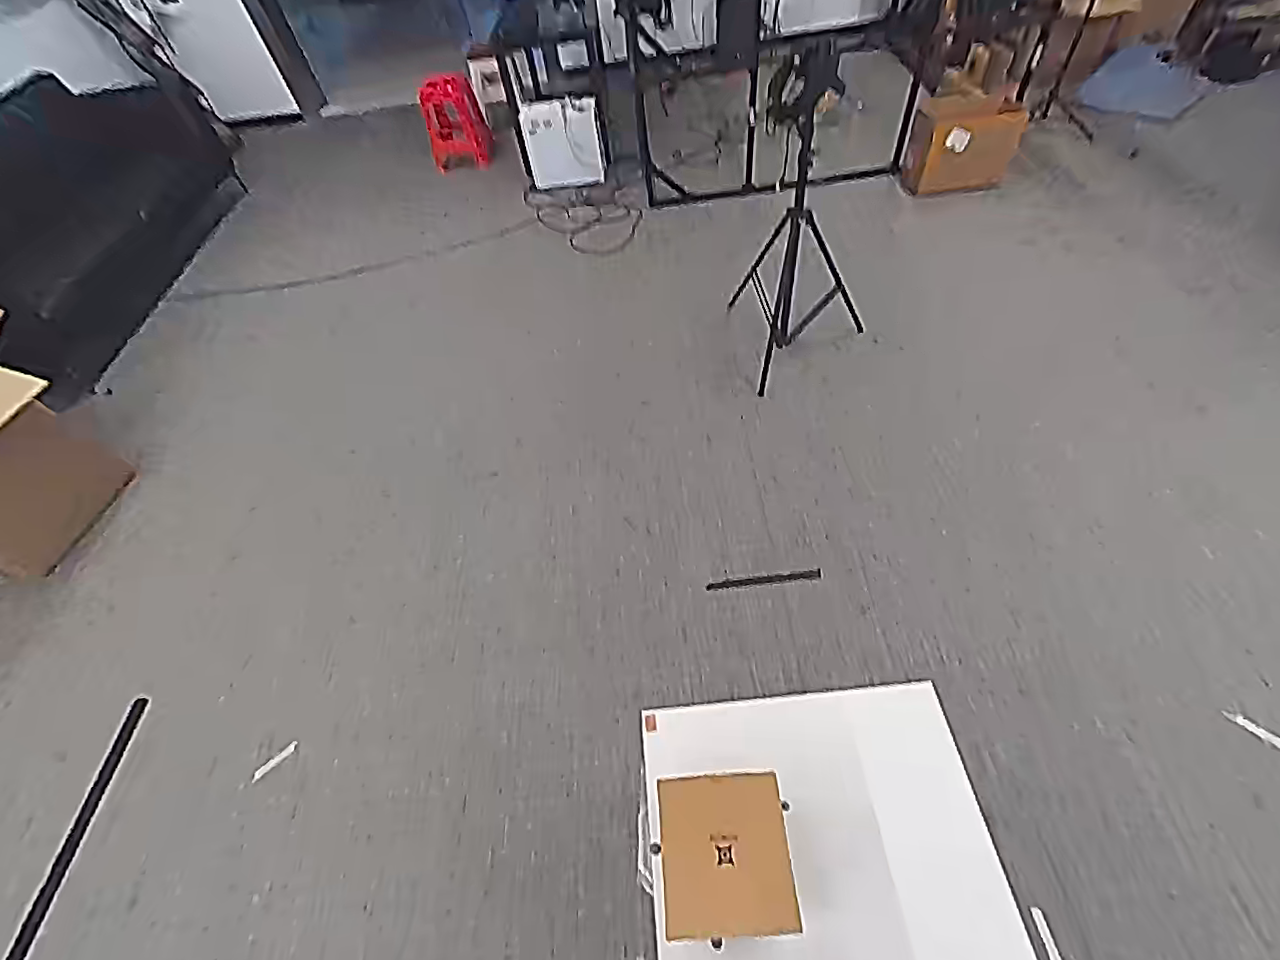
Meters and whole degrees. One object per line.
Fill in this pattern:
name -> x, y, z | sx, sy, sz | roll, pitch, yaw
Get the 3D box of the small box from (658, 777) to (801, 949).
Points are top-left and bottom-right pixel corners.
small box -> 0.118, 0.530, 0.756 | 0.168, 0.176, 0.179 | -6, 52, 3
